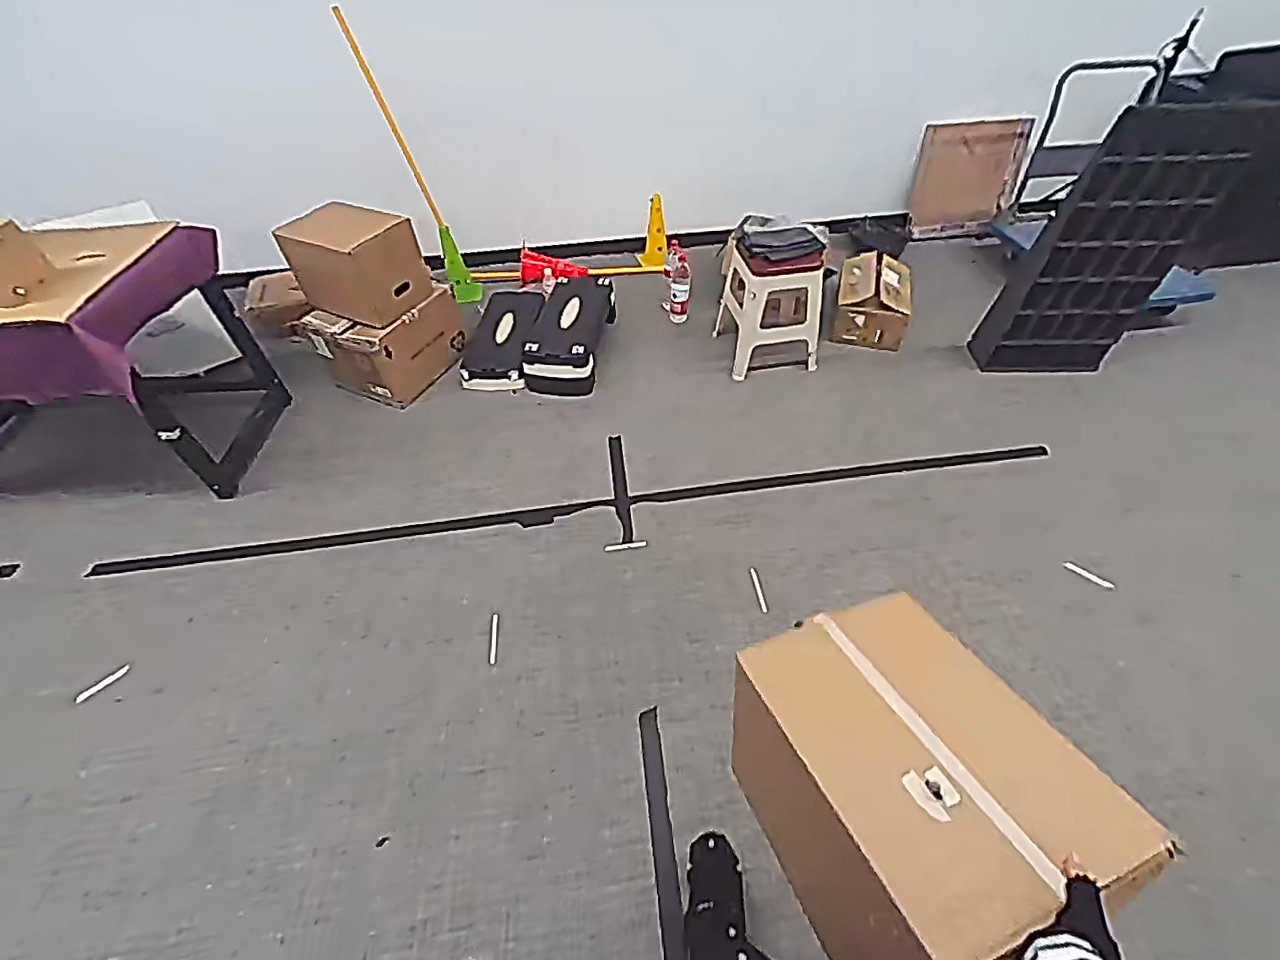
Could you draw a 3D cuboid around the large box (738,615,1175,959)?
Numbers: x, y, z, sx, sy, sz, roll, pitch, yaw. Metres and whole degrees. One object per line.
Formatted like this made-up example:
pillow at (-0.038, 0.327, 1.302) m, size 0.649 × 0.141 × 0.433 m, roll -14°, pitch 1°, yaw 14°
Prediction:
large box at (0.377, 0.475, 0.779) m, size 0.320 × 0.320 × 0.408 m, roll -14°, pitch 33°, yaw -15°
